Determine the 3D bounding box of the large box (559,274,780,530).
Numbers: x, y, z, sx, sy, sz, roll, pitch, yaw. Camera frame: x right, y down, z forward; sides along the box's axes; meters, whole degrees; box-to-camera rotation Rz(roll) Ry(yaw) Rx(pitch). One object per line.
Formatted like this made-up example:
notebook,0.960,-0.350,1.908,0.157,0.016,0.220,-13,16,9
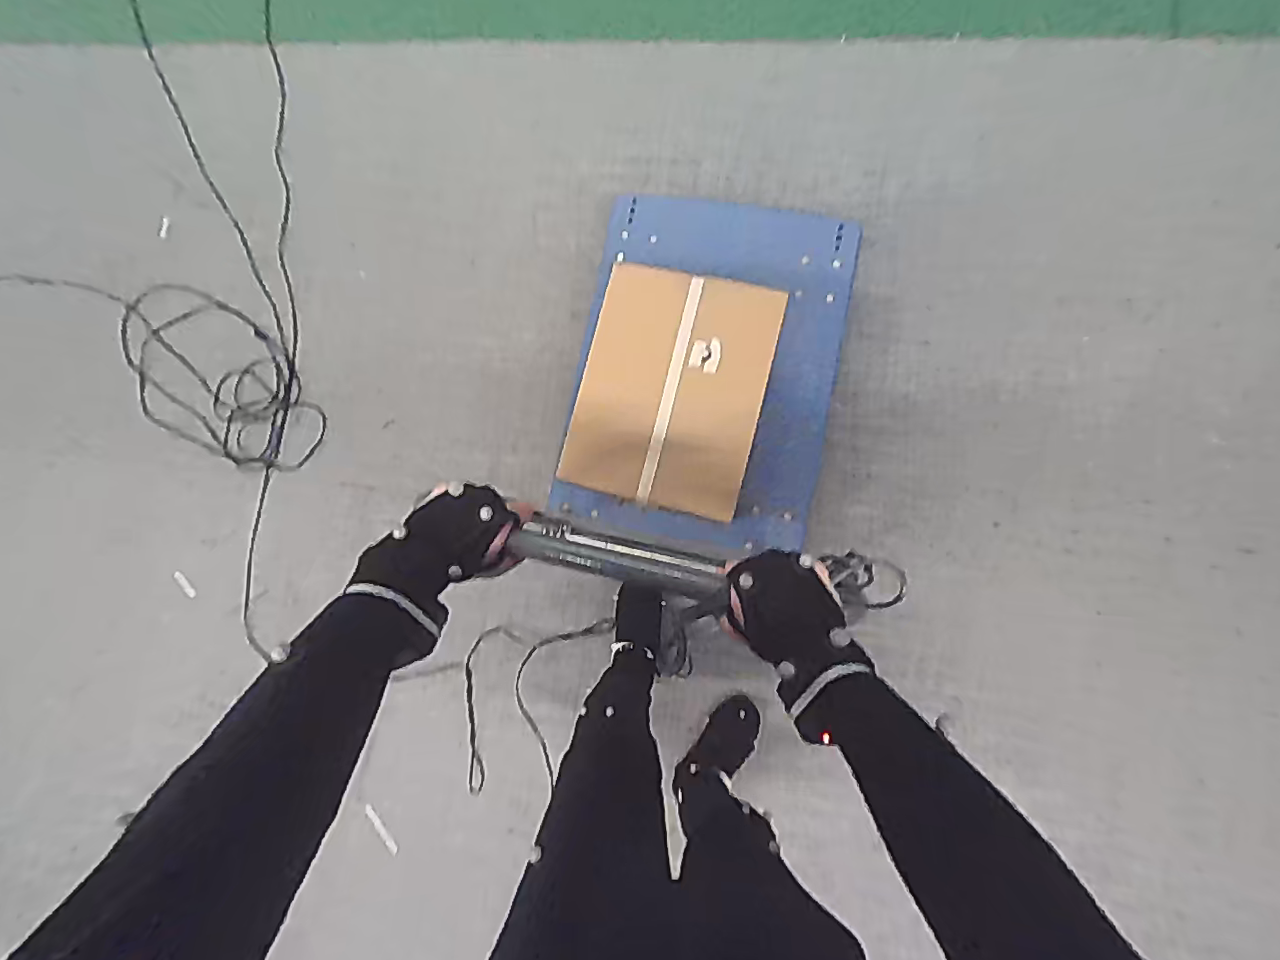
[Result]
large box,0.070,-0.129,1.081,0.320,0.320,0.408,14,85,8
